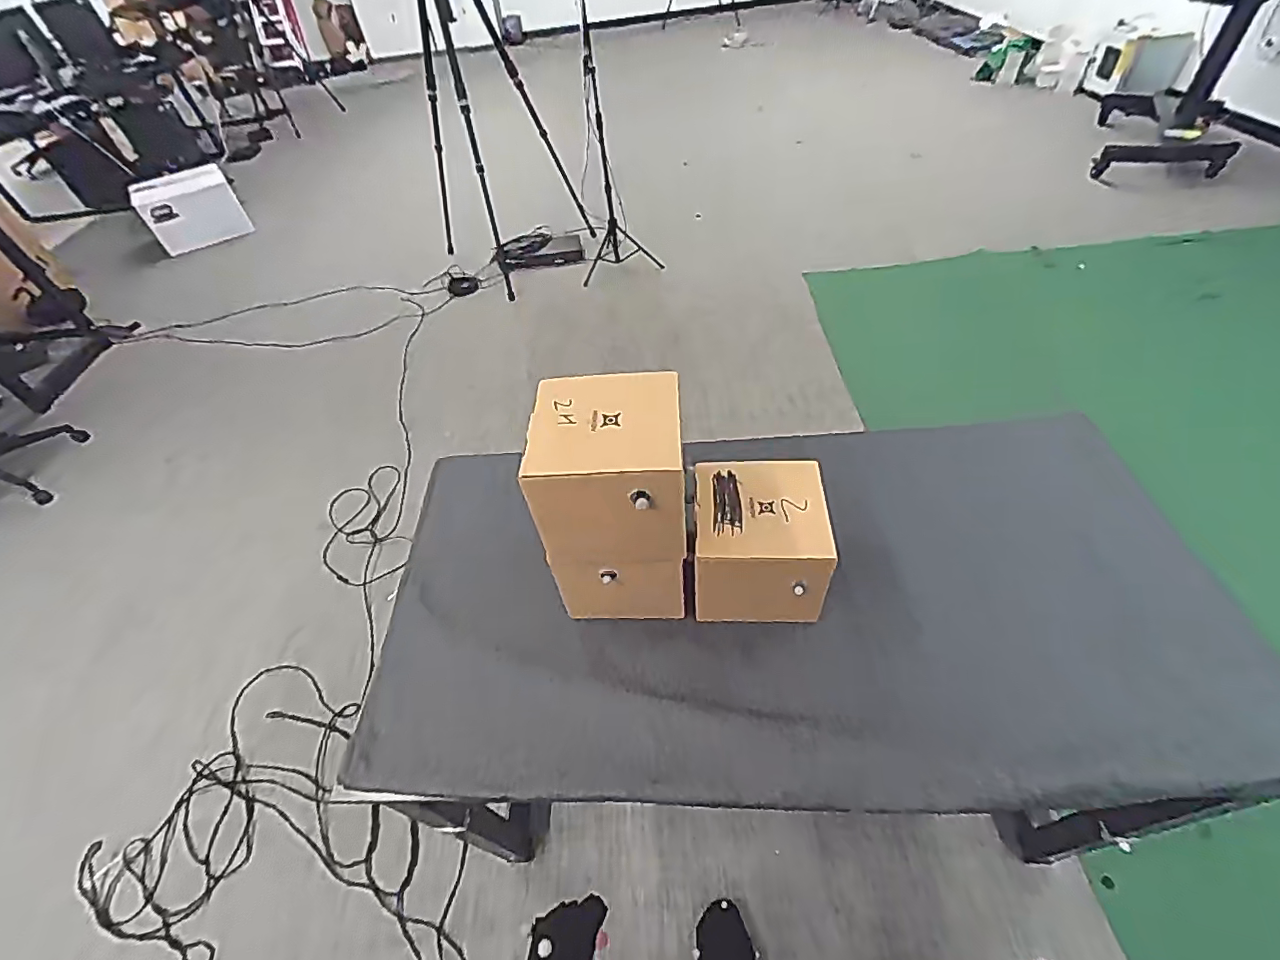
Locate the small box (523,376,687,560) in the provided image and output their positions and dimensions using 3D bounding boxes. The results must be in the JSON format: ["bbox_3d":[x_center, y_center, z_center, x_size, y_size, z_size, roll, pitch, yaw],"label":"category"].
[{"bbox_3d":[-0.031,-0.012,0.684,0.179,0.176,0.168,-2,48,4],"label":"small box"}]
